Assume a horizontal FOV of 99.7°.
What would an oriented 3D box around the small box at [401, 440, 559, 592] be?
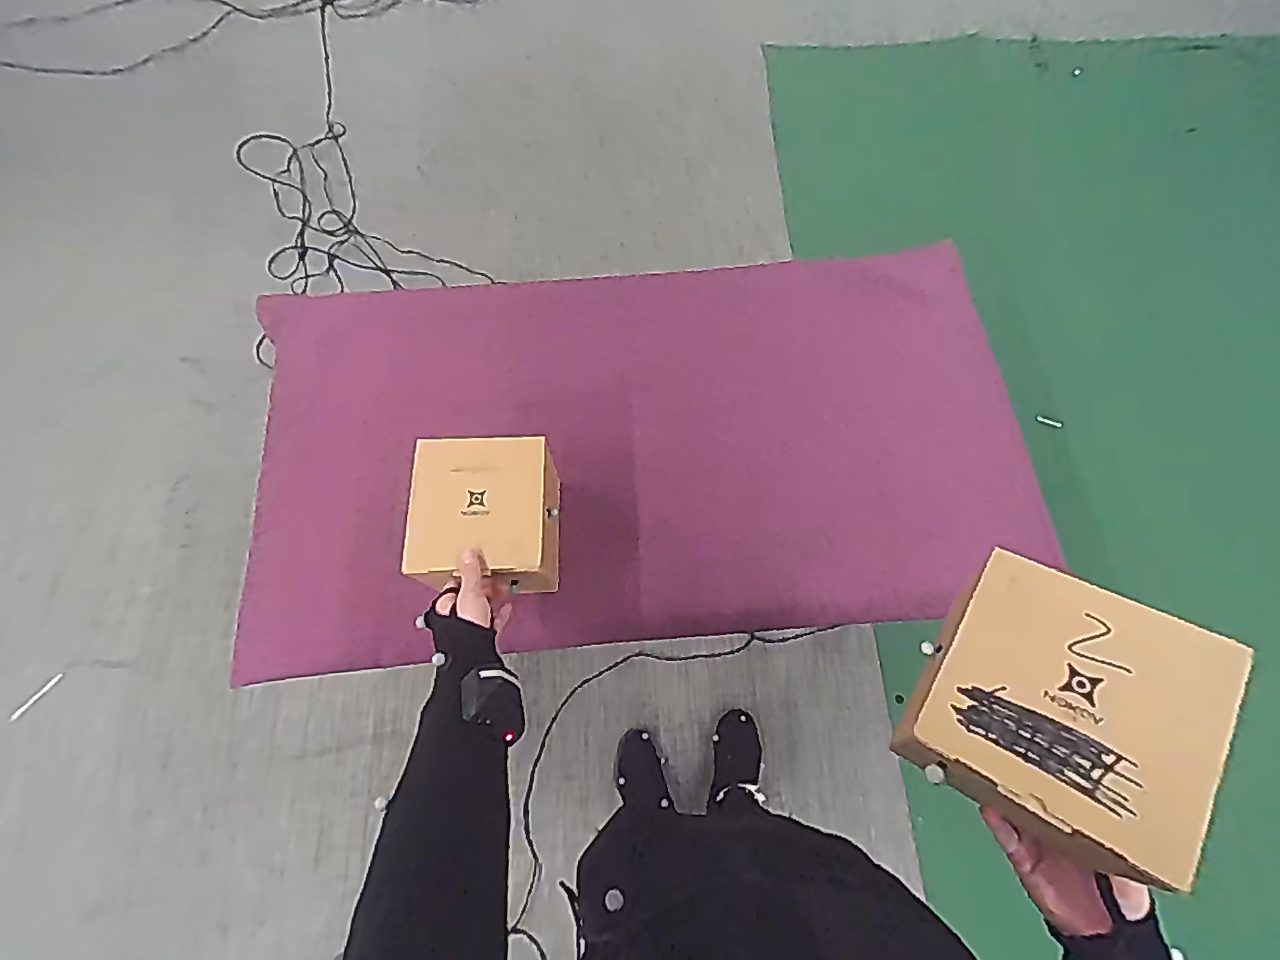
[{"bbox_3d":[-0.204,0.058,0.744,0.168,0.176,0.179,-1,69,-2],"label":"small box"}]
